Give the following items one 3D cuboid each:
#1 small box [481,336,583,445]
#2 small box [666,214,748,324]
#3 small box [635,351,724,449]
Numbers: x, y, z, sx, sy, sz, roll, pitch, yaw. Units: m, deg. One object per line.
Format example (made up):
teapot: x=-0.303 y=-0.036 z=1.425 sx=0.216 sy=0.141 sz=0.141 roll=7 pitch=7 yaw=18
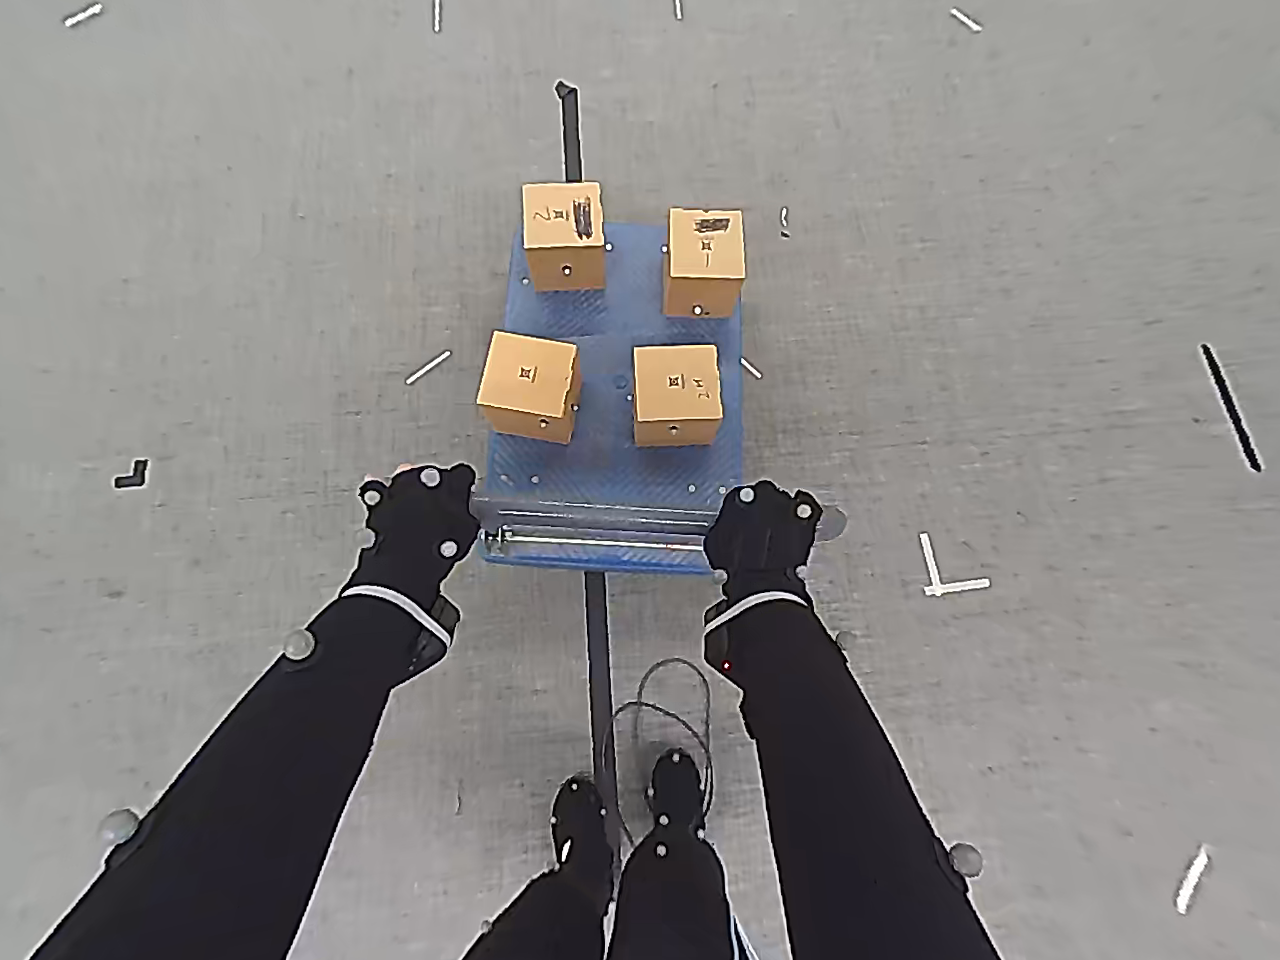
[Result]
small box: x=-0.225 y=-0.187 z=1.176 sx=0.179 sy=0.176 sz=0.168 roll=10 pitch=75 yaw=-1
small box: x=0.150 y=-0.490 z=1.271 sx=0.168 sy=0.176 sz=0.179 roll=1 pitch=77 yaw=-3
small box: x=0.078 y=-0.169 z=1.185 sx=0.179 sy=0.176 sz=0.168 roll=-2 pitch=76 yaw=-3
